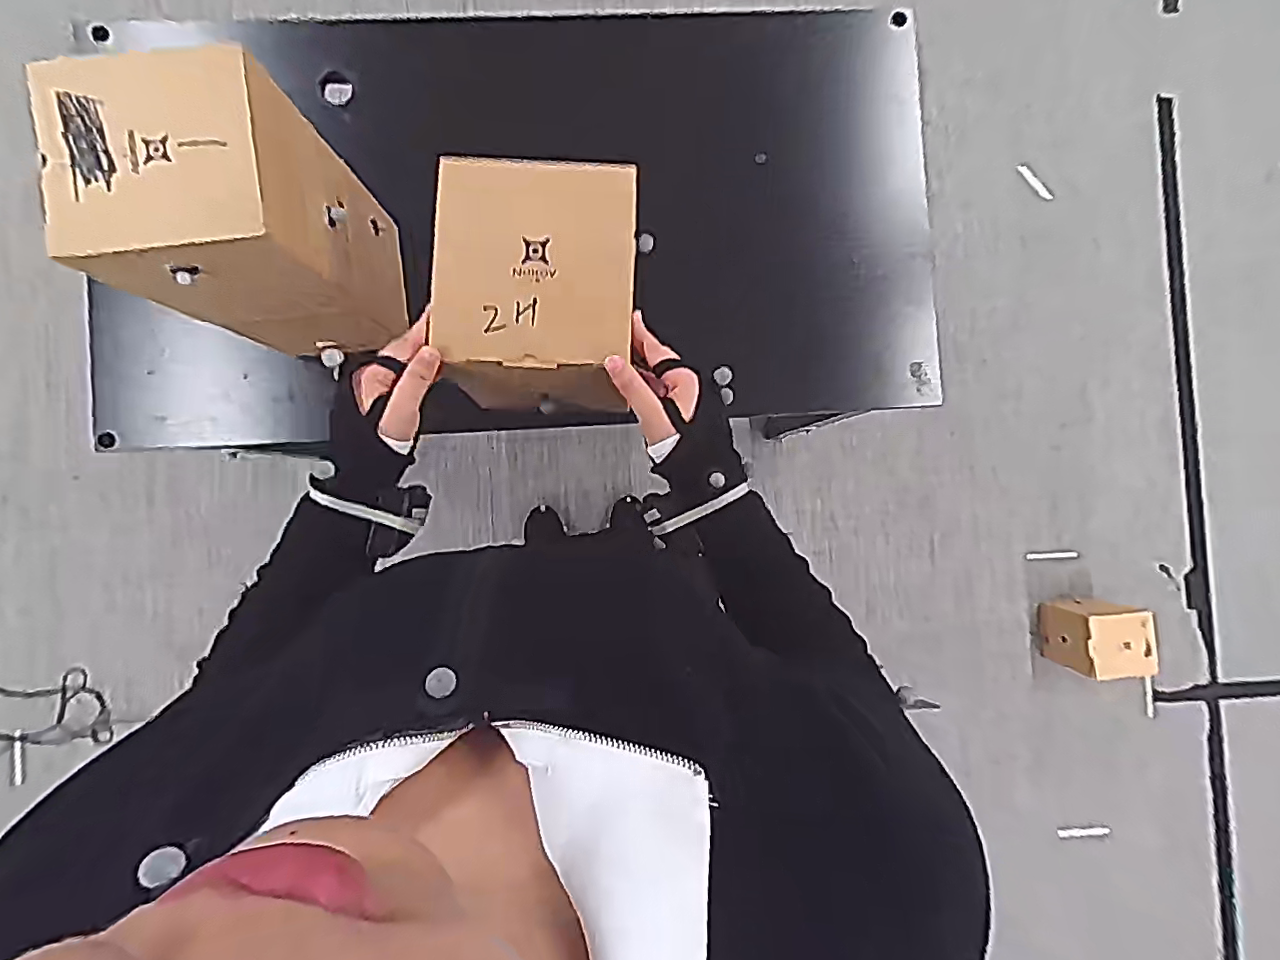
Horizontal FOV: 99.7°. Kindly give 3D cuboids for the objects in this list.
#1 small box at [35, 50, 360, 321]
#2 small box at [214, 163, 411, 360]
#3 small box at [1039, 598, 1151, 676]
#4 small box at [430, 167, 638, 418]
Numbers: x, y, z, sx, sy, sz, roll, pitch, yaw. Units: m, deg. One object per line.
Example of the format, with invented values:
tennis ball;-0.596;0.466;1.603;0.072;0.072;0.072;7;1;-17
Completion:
small box;-0.405;-0.265;0.525;0.179;0.176;0.168;-8;89;-3
small box;-0.411;-0.265;0.690;0.168;0.176;0.179;-7;90;-2
small box;1.238;0.426;1.488;0.179;0.176;0.168;-4;89;-2
small box;-0.089;-0.168;0.530;0.168;0.176;0.179;1;83;-1
